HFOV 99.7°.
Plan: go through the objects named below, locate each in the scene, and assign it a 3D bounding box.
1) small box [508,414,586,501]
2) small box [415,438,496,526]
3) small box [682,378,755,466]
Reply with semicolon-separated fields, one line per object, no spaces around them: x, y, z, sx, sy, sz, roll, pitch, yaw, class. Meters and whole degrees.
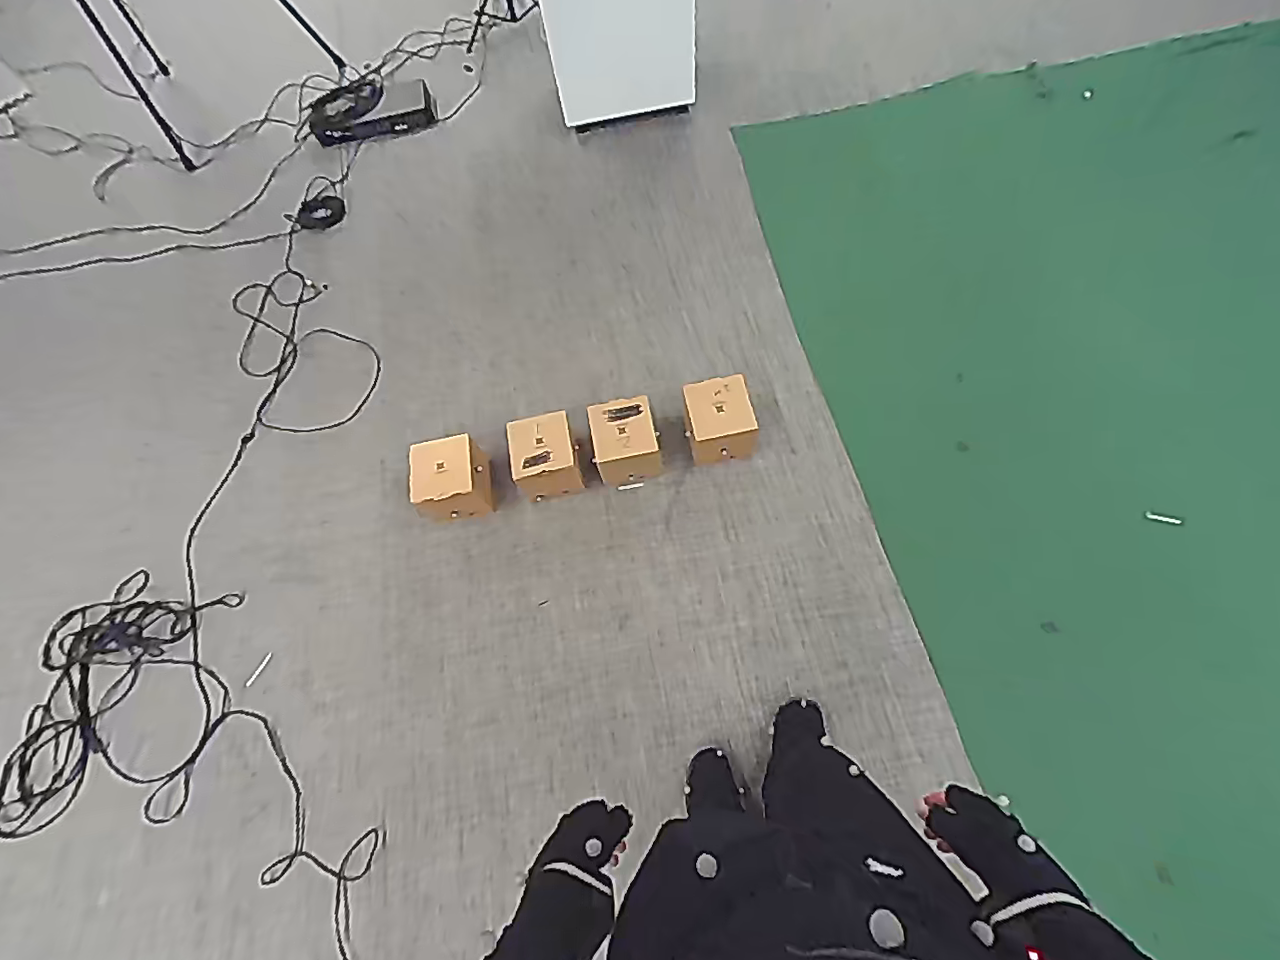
-0.255;-0.054;1.511;0.168;0.176;0.179;-13;65;1;small box
-0.514;0.008;1.514;0.168;0.176;0.179;-12;66;1;small box
0.215;-0.153;1.506;0.168;0.176;0.179;-11;66;0;small box
